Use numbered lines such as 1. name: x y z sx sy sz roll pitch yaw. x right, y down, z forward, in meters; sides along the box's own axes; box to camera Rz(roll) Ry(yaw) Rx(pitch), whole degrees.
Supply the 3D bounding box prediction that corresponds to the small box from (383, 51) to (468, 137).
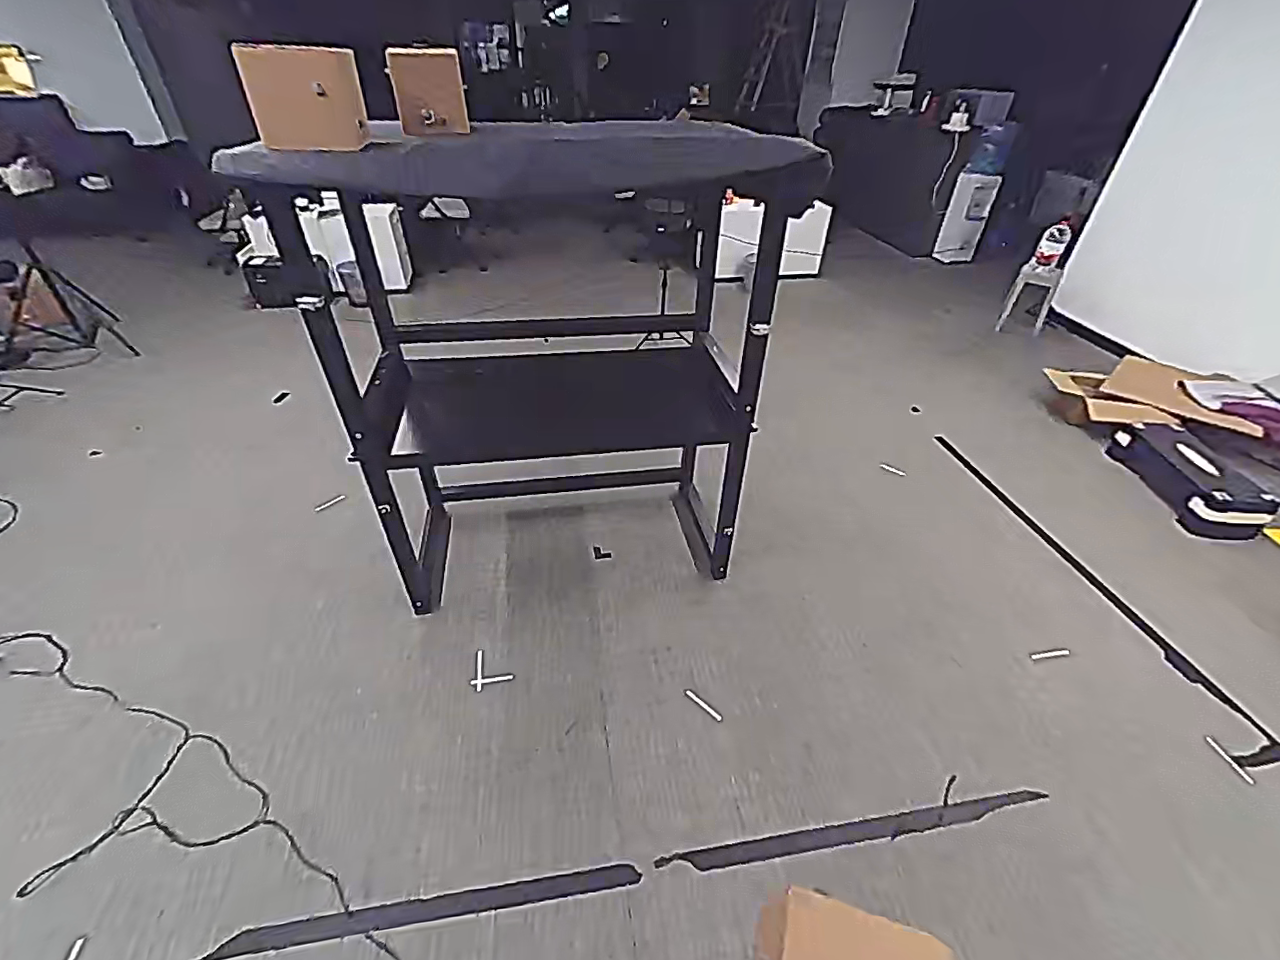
1. small box: -0.546 -0.992 1.391 0.168 0.176 0.179 -11 40 -13
